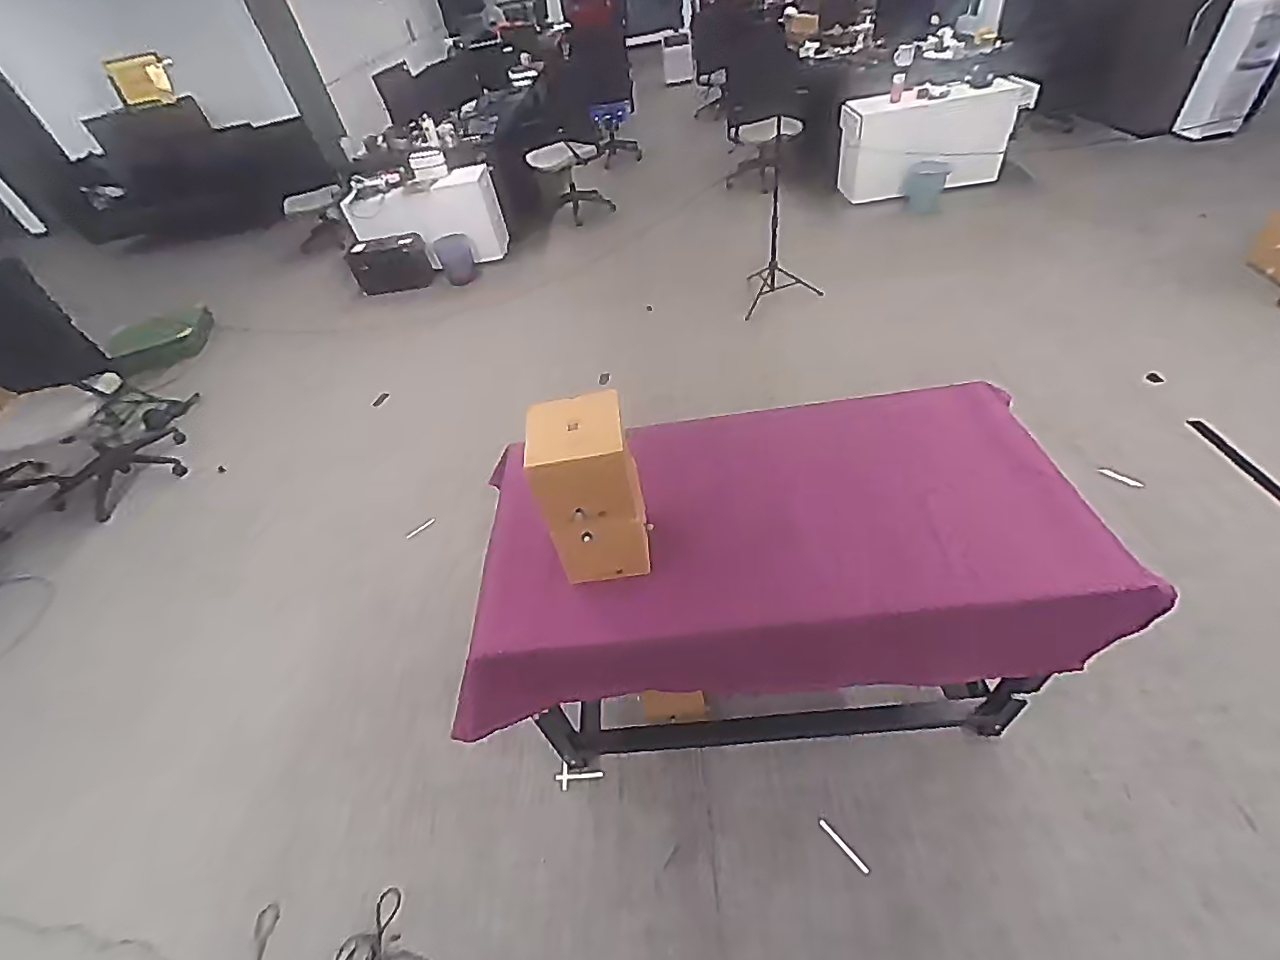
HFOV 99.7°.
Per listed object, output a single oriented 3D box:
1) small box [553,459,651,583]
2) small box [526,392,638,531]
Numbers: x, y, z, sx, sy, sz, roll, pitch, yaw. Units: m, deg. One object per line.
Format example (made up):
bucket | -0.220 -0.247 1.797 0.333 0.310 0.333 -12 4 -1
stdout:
small box | -0.071 0.084 1.092 0.168 0.176 0.179 -8 44 4
small box | -0.098 -0.032 0.980 0.168 0.176 0.179 -9 45 3
